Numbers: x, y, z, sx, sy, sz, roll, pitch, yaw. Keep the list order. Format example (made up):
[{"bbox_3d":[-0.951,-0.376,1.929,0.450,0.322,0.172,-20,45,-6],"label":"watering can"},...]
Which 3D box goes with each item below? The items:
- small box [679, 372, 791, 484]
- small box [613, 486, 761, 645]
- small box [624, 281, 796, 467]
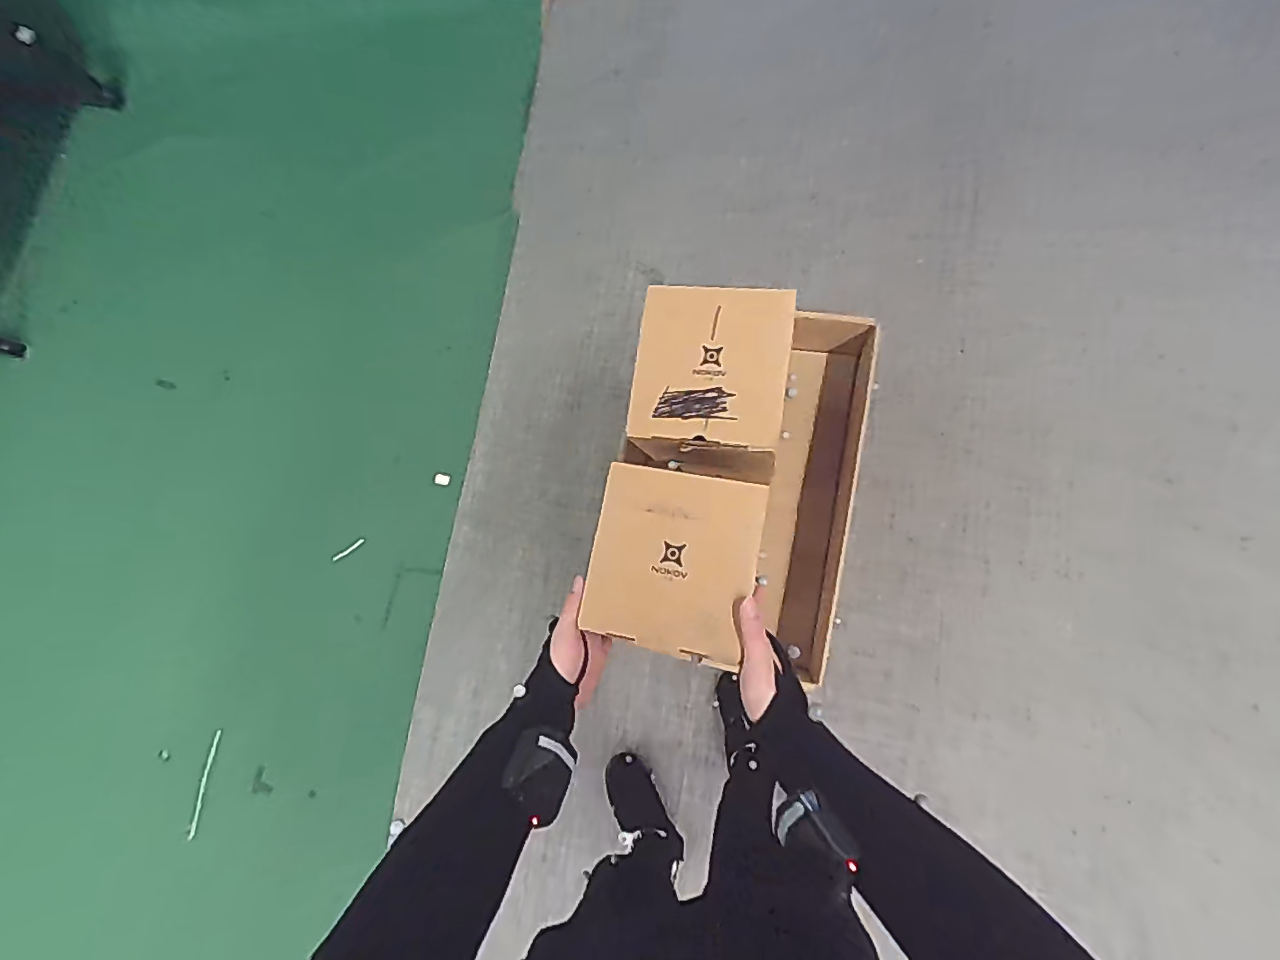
[{"bbox_3d":[0.170,-0.098,0.968,0.168,0.176,0.179,9,85,14],"label":"small box"},{"bbox_3d":[0.077,0.119,0.775,0.168,0.176,0.179,11,83,14],"label":"small box"},{"bbox_3d":[0.091,-0.116,0.648,0.168,0.176,0.179,7,84,14],"label":"small box"}]
